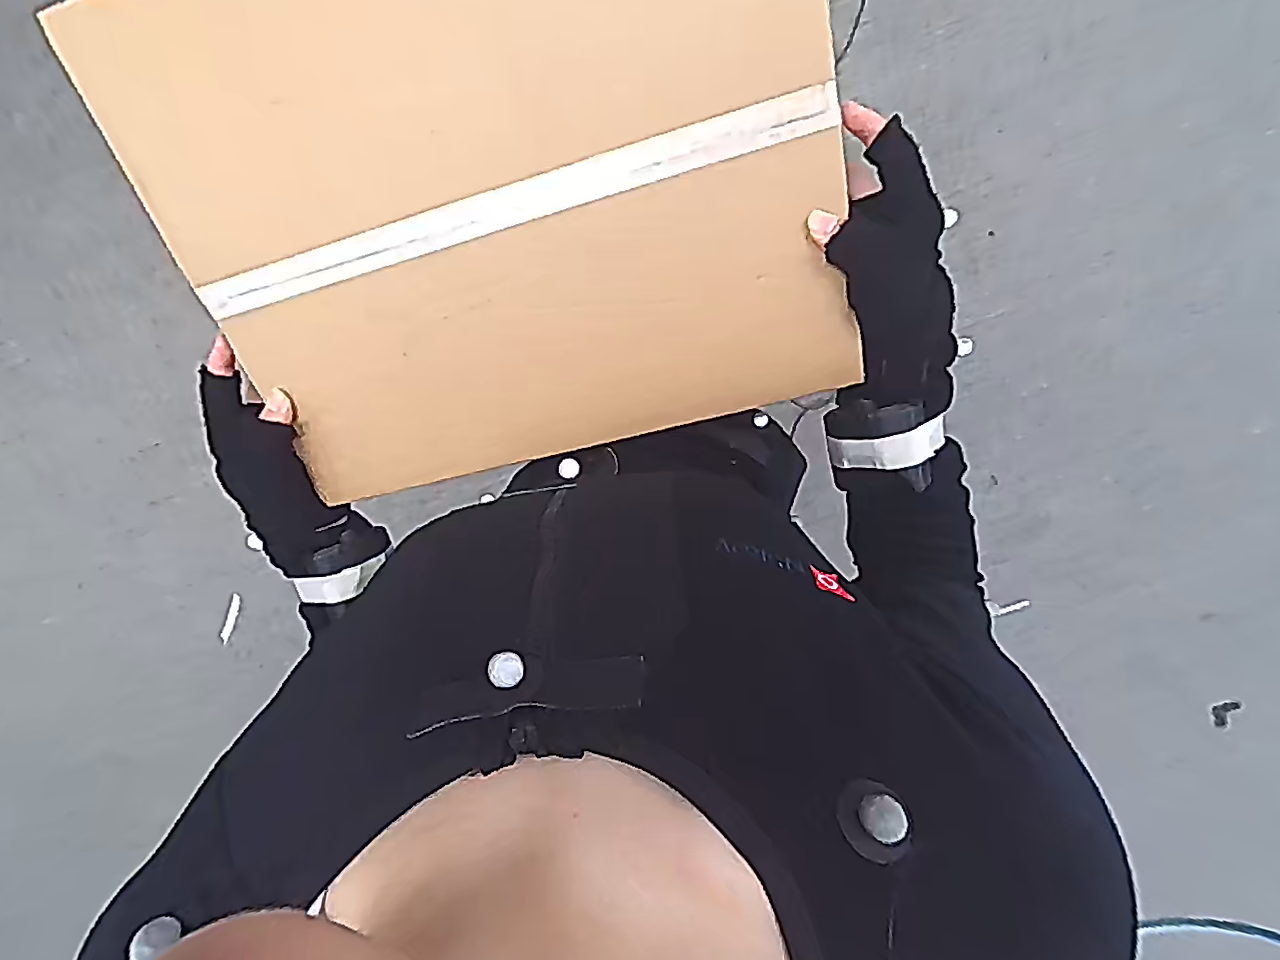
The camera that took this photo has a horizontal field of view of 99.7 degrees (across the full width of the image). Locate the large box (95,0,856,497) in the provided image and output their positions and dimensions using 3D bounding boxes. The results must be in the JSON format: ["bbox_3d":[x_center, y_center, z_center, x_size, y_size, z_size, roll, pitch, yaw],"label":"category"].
[{"bbox_3d":[-0.078,-0.226,0.469,0.408,0.320,0.320,-13,115,9],"label":"large box"}]
